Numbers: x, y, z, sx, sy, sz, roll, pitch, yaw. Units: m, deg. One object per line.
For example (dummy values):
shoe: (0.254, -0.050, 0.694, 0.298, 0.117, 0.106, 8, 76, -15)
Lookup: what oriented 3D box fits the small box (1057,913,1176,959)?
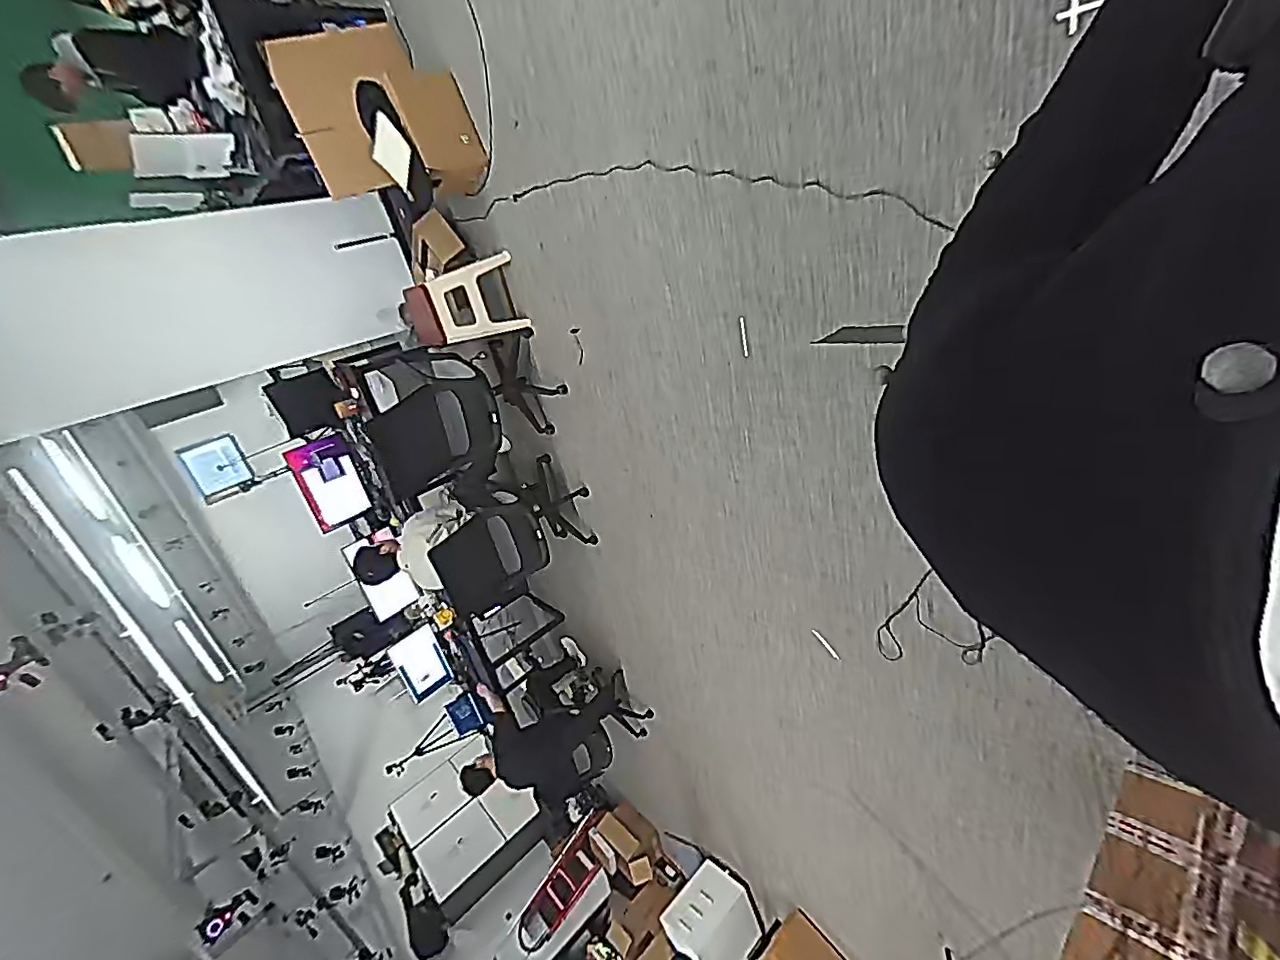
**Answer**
small box: (1.075, 1.134, 1.217, 0.179, 0.176, 0.168, 5, 116, 52)
